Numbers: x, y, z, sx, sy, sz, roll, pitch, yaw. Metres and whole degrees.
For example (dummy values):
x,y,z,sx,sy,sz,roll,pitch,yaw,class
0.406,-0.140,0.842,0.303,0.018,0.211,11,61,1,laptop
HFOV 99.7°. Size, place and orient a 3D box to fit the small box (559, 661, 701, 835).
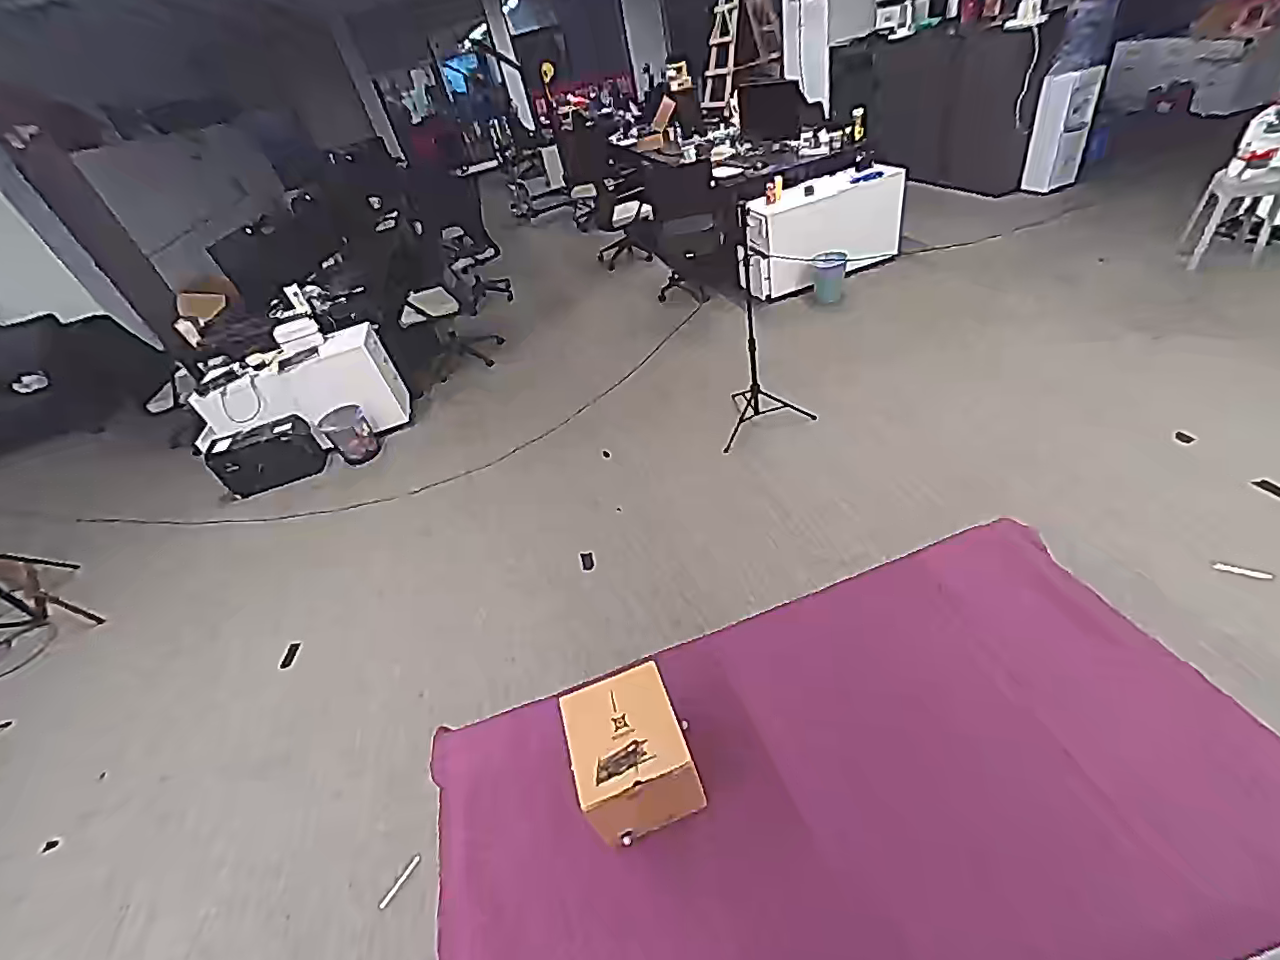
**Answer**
x,y,z,sx,sy,sz,roll,pitch,yaw,class
-0.014,0.430,0.859,0.168,0.176,0.179,-20,39,-6,small box
